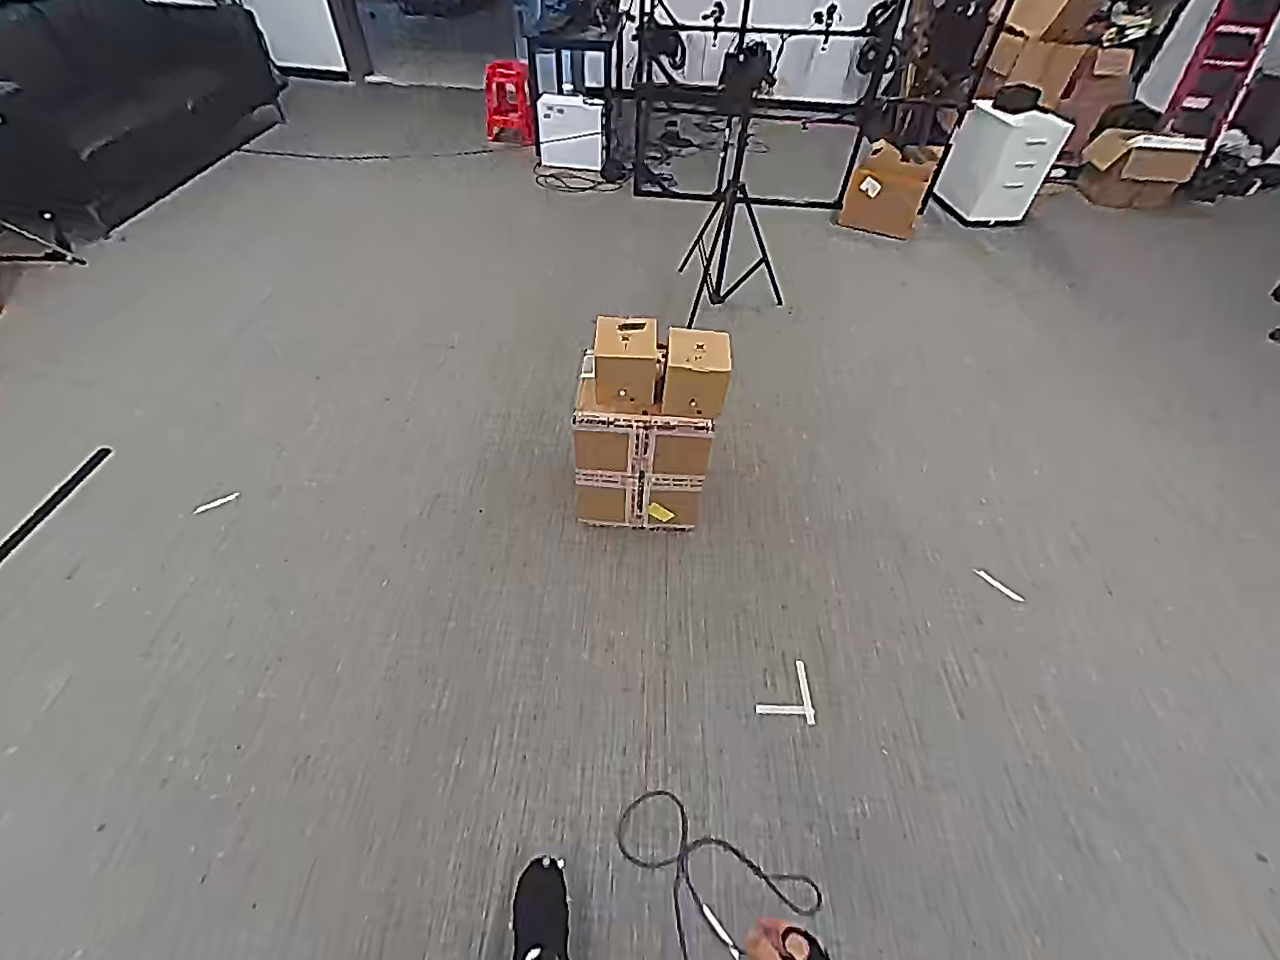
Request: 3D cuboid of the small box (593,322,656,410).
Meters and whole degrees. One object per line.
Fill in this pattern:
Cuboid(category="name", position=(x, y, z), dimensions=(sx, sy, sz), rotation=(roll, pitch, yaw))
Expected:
Cuboid(category="small box", position=(-0.042, -0.319, 1.513), dimensions=(0.168, 0.176, 0.179), rotation=(1, 51, -1))

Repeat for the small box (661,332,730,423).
Cuboid(category="small box", position=(0.147, -0.284, 1.496), dimensions=(0.168, 0.176, 0.179), rotation=(5, 50, -1))
